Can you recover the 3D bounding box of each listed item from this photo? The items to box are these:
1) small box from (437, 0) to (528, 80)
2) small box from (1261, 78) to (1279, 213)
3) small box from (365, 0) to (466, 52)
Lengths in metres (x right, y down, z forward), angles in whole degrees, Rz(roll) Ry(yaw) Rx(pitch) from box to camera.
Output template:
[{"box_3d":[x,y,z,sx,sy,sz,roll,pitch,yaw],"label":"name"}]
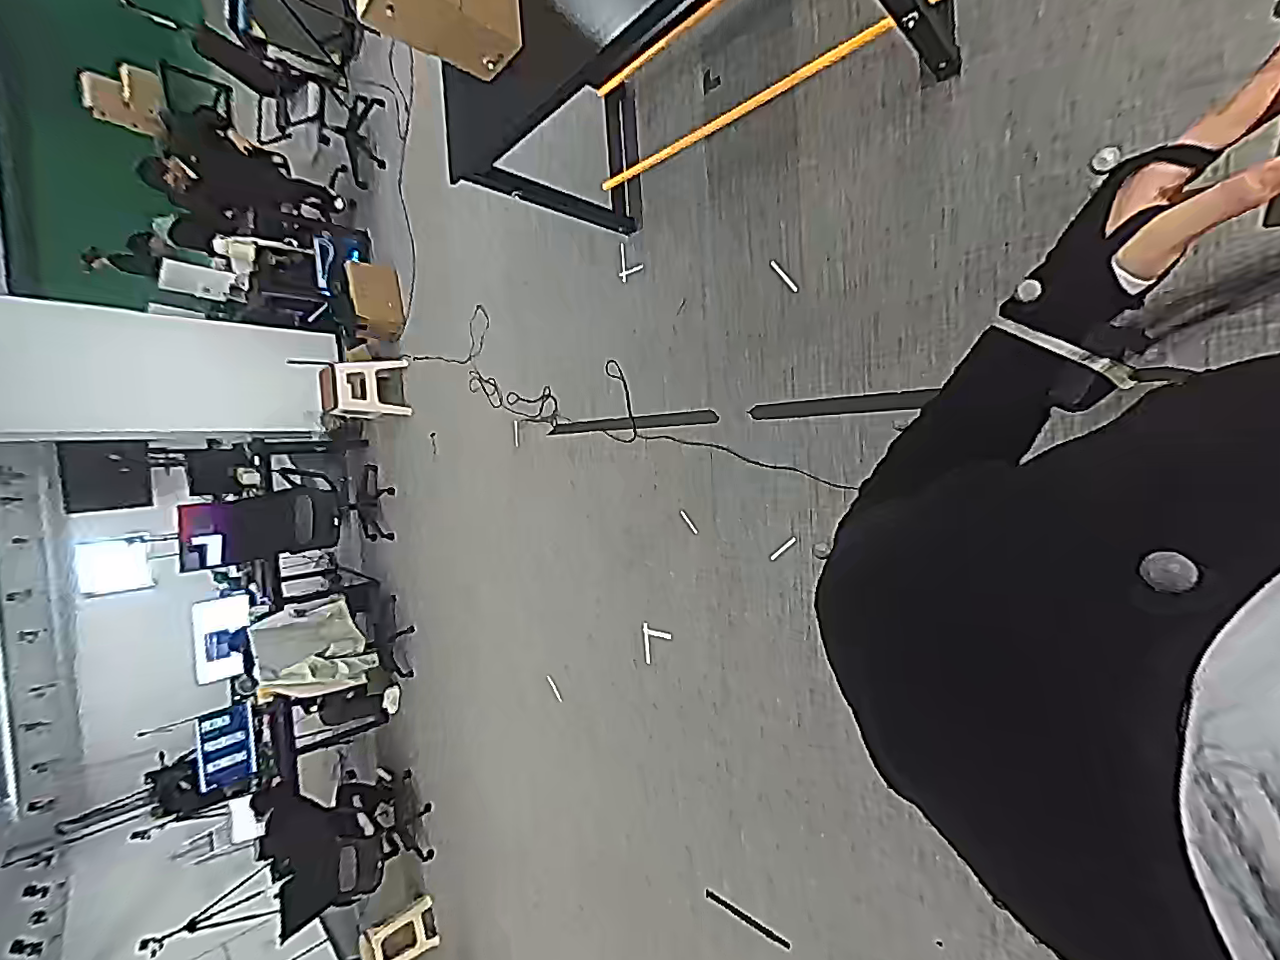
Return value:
[{"box_3d":[-0.395,-1.154,1.342,0.168,0.176,0.179,-3,92,47],"label":"small box"},{"box_3d":[0.447,-0.250,0.266,0.168,0.176,0.179,12,106,46],"label":"small box"},{"box_3d":[-0.515,-1.136,1.230,0.179,0.176,0.168,-5,90,46],"label":"small box"}]
